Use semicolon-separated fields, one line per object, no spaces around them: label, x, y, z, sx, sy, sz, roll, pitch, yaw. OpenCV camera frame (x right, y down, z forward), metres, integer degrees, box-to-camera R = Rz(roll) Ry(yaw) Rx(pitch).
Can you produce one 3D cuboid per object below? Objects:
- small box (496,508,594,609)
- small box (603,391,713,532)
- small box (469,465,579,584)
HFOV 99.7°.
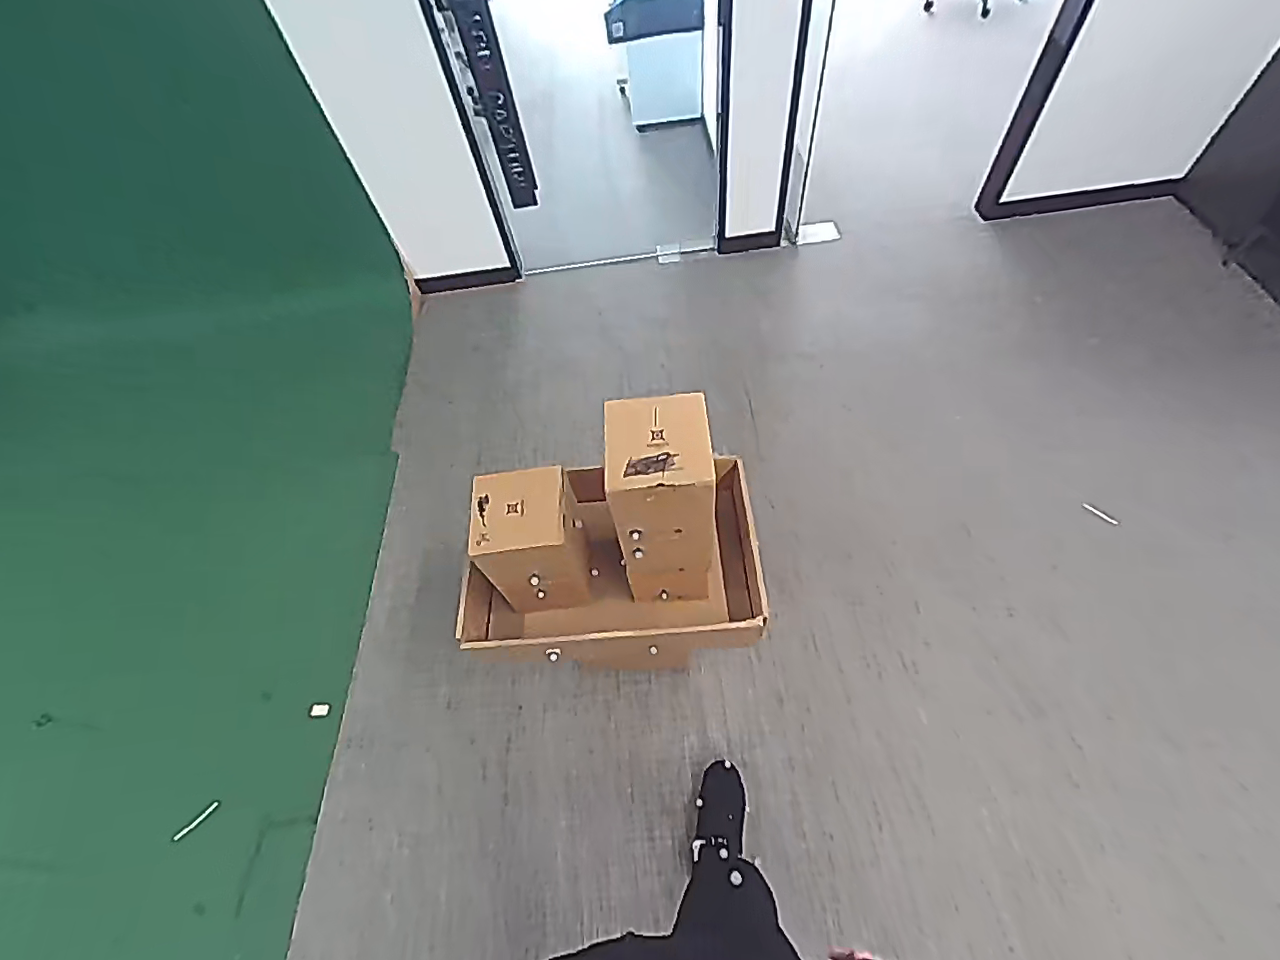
small box;-0.201;0.178;1.191;0.179;0.176;0.168;-5;58;2
small box;0.032;-0.022;0.901;0.168;0.176;0.179;-5;57;3
small box;-0.215;0.091;1.052;0.179;0.176;0.168;-7;58;1
